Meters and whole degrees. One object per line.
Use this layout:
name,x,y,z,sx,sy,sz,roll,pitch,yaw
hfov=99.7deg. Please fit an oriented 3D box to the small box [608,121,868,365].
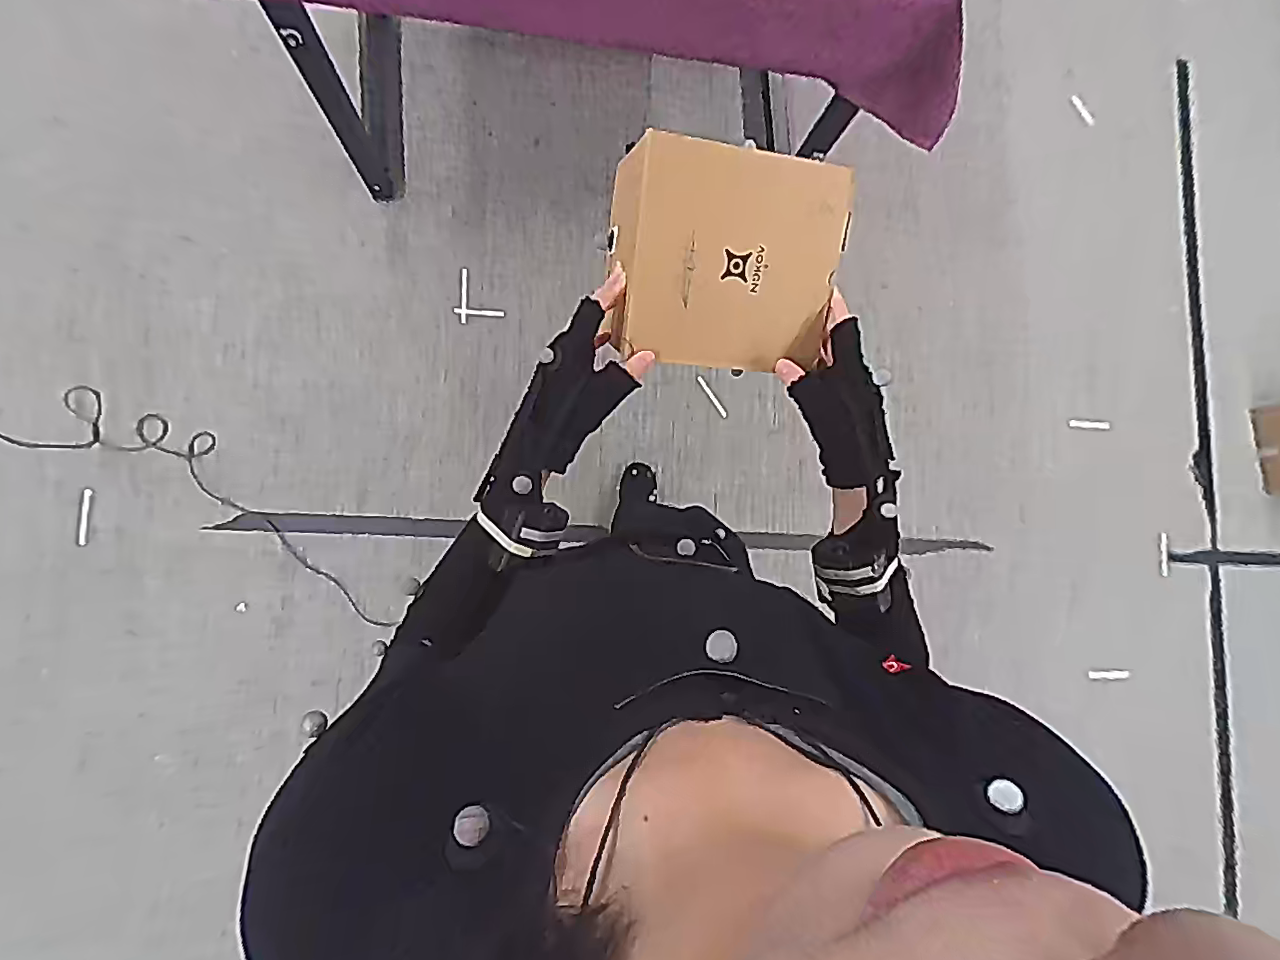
small box,0.072,-0.207,0.504,0.179,0.176,0.168,1,109,-12
